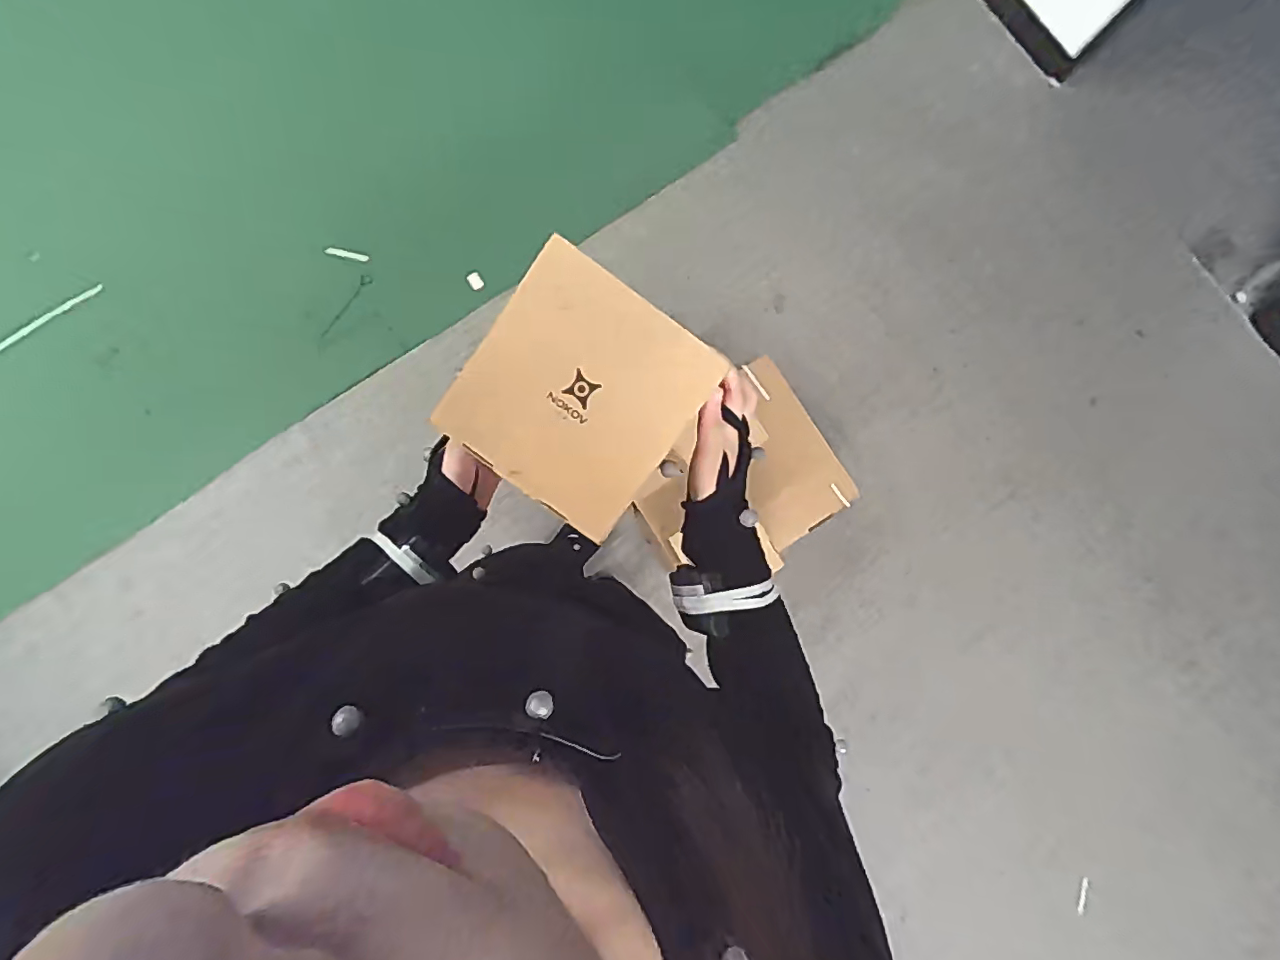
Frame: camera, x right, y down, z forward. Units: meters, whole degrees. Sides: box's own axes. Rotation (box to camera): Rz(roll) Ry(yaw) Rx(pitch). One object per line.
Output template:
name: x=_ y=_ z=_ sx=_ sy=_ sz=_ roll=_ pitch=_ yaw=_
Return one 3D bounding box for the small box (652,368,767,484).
small box: x=0.137 y=-0.106 z=1.152 sx=0.179 sy=0.176 sz=0.168 roll=-32 pitch=87 yaw=-7

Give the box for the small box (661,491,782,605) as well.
small box: x=0.160 y=0.137 z=1.126 sx=0.179 sy=0.176 sz=0.168 roll=-29 pitch=87 yaw=-6
